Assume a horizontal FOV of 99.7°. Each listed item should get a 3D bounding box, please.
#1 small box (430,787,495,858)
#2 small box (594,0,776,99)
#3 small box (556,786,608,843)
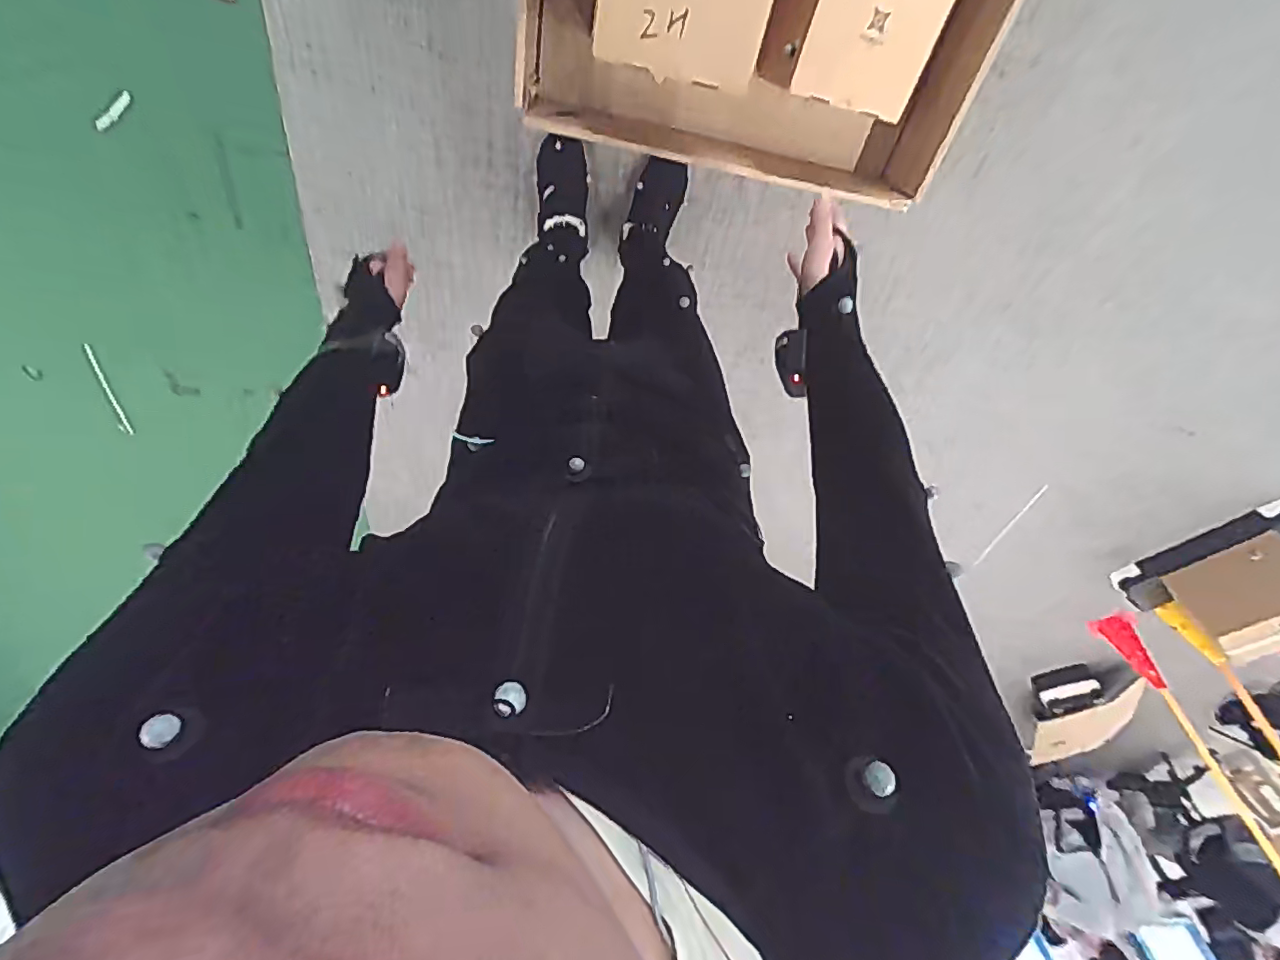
[{"bbox_3d":[-0.590,1.146,1.813,0.179,0.176,0.168,5,132,-9],"label":"small box"},{"bbox_3d":[0.045,-0.523,0.555,0.168,0.176,0.179,7,131,-11],"label":"small box"},{"bbox_3d":[-0.205,1.178,1.875,0.168,0.176,0.179,4,132,-8],"label":"small box"}]
